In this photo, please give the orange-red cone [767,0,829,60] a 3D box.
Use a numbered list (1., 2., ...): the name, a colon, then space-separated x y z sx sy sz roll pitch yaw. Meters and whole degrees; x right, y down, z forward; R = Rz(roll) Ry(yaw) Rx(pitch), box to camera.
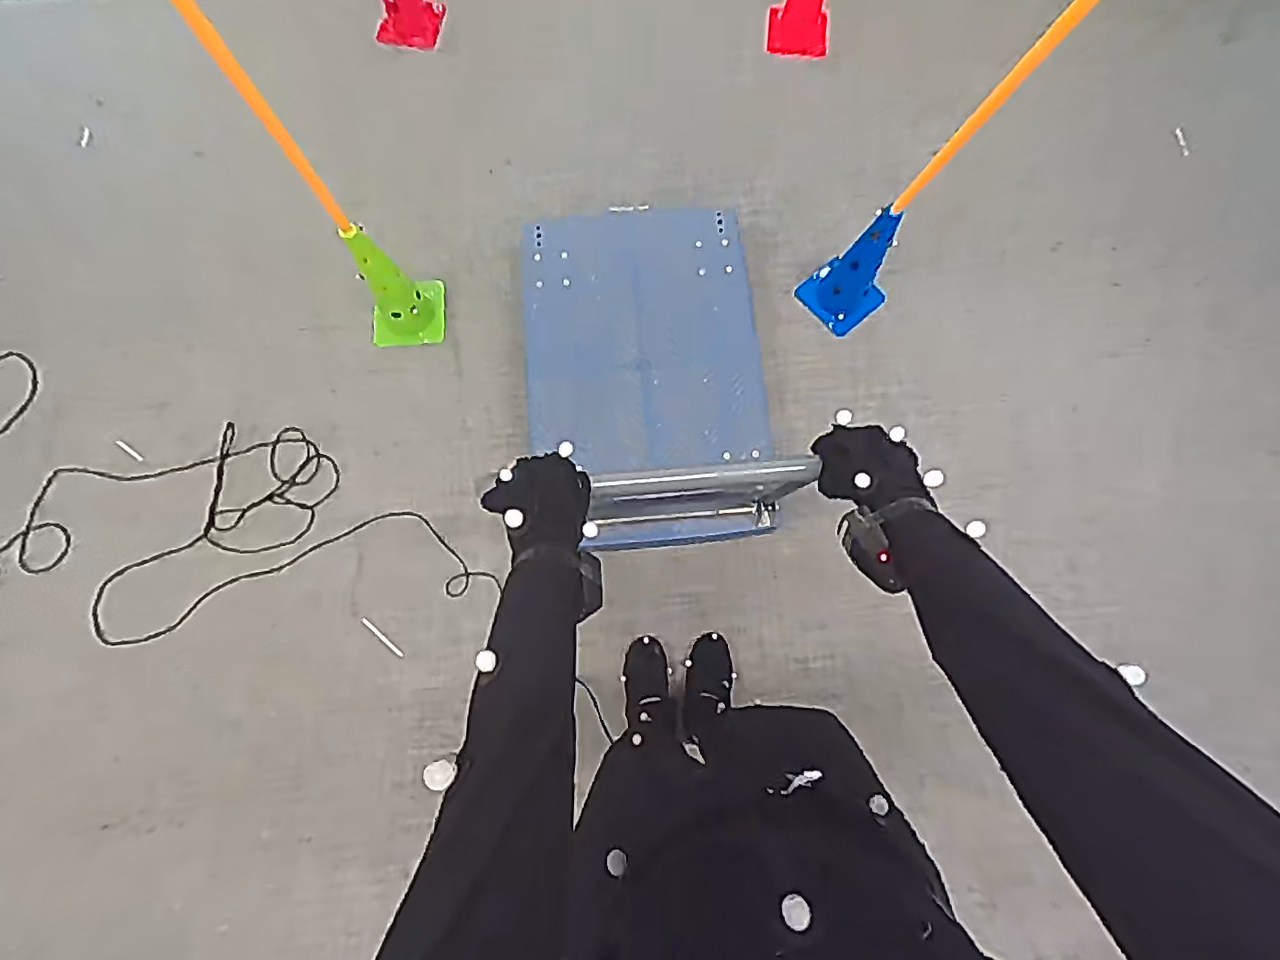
1. orange-red cone: 0.524 -1.520 1.633 0.198 0.360 0.199 7 77 3
